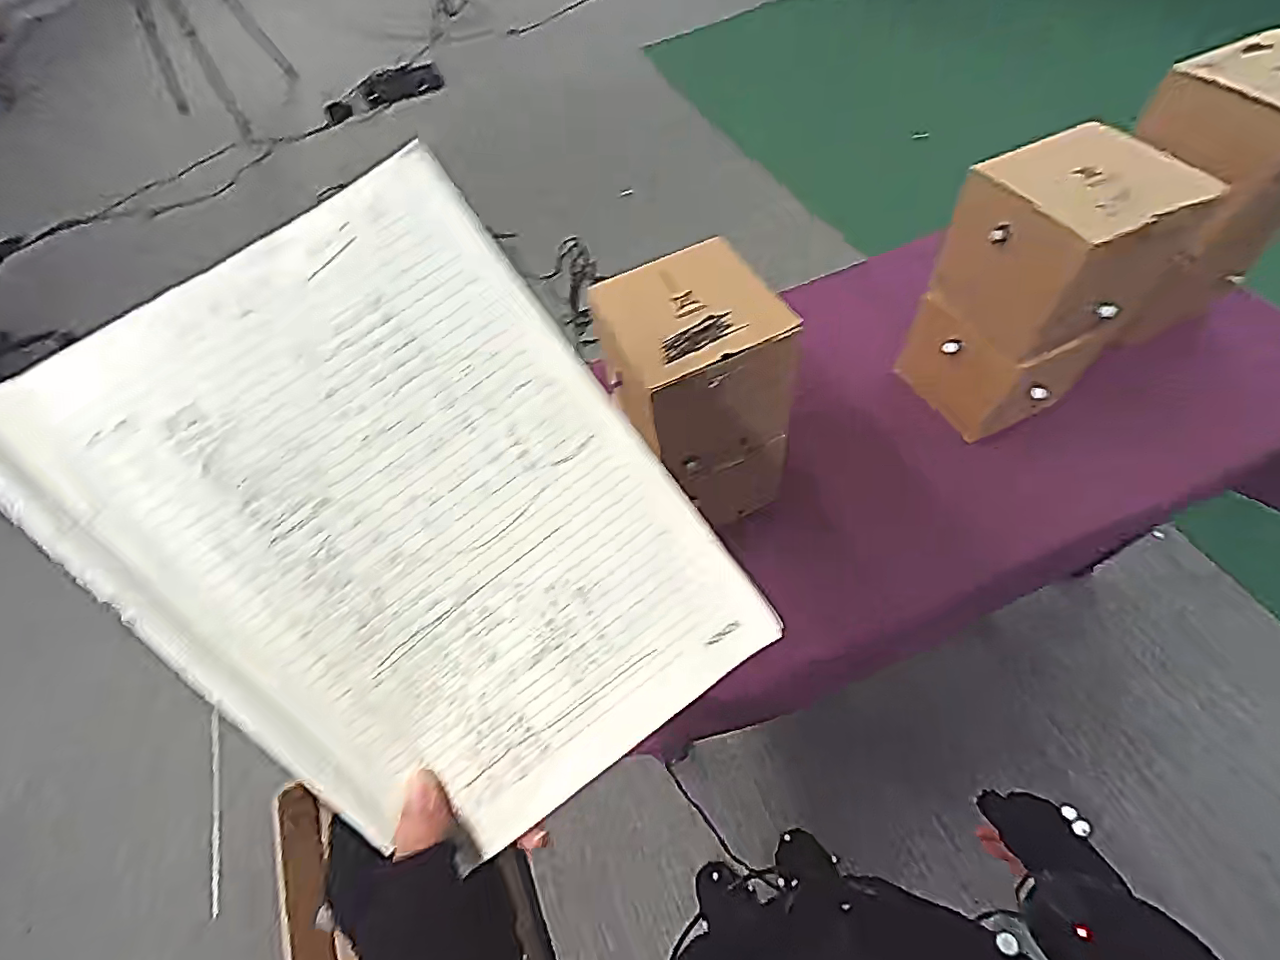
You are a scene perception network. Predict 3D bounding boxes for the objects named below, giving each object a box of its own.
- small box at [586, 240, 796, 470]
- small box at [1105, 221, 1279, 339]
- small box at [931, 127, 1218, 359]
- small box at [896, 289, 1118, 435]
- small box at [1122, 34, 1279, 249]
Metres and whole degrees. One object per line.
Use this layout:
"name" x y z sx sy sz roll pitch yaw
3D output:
"small box" 0.058 -0.133 0.623 0.168 0.176 0.179 -24 56 -7
"small box" 0.789 -0.345 0.842 0.168 0.176 0.179 -22 58 -6
"small box" 0.493 -0.280 0.653 0.168 0.176 0.179 -22 58 -5
"small box" 0.514 -0.189 0.789 0.168 0.176 0.179 -25 58 -7
"small box" 0.764 -0.427 0.702 0.168 0.176 0.179 -22 59 -6
